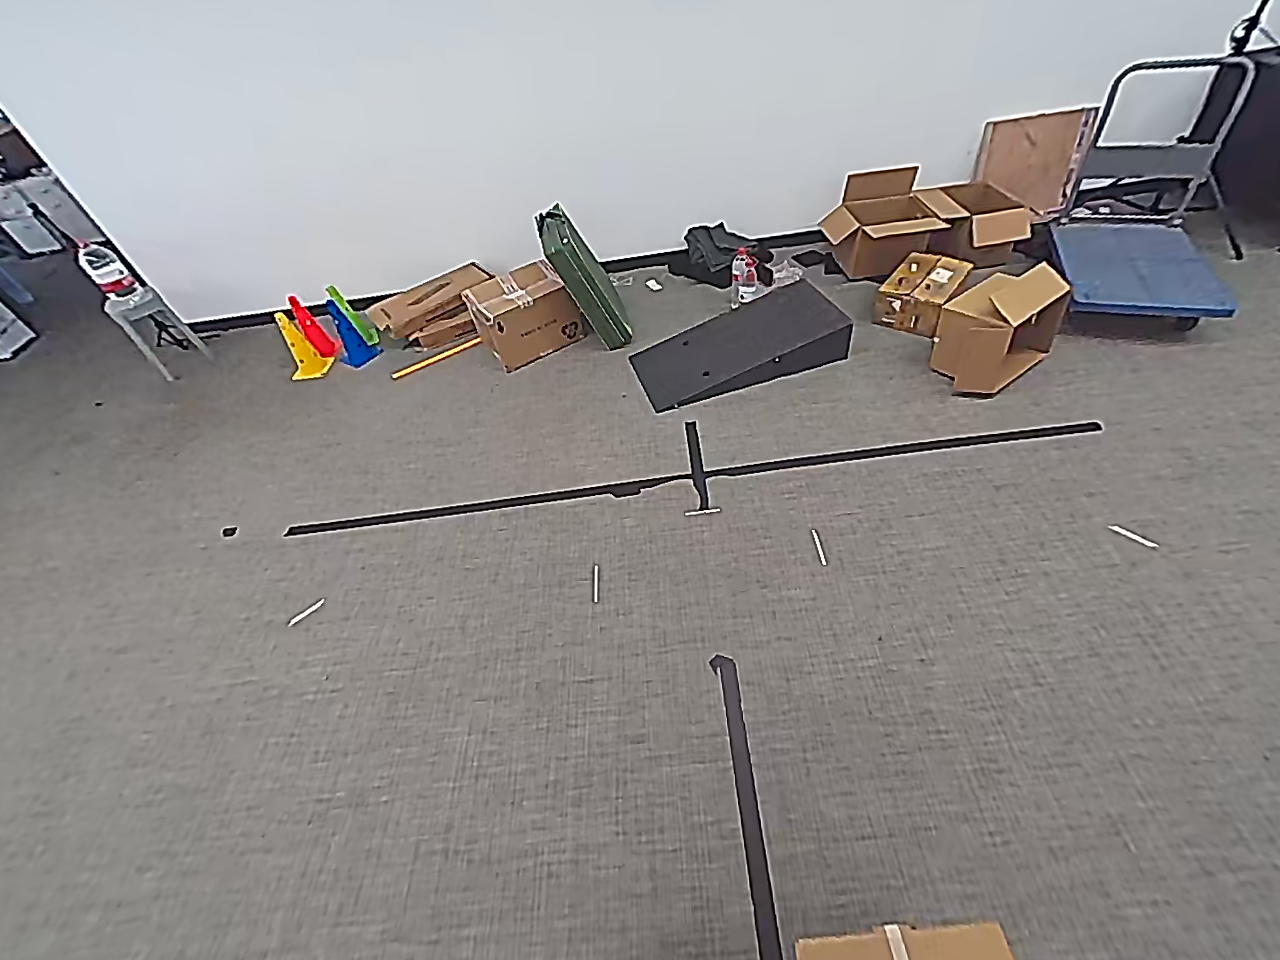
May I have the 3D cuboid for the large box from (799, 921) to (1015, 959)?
[{"bbox_3d":[0.448,0.946,0.818,0.320,0.320,0.408,-12,47,8],"label":"large box"}]
